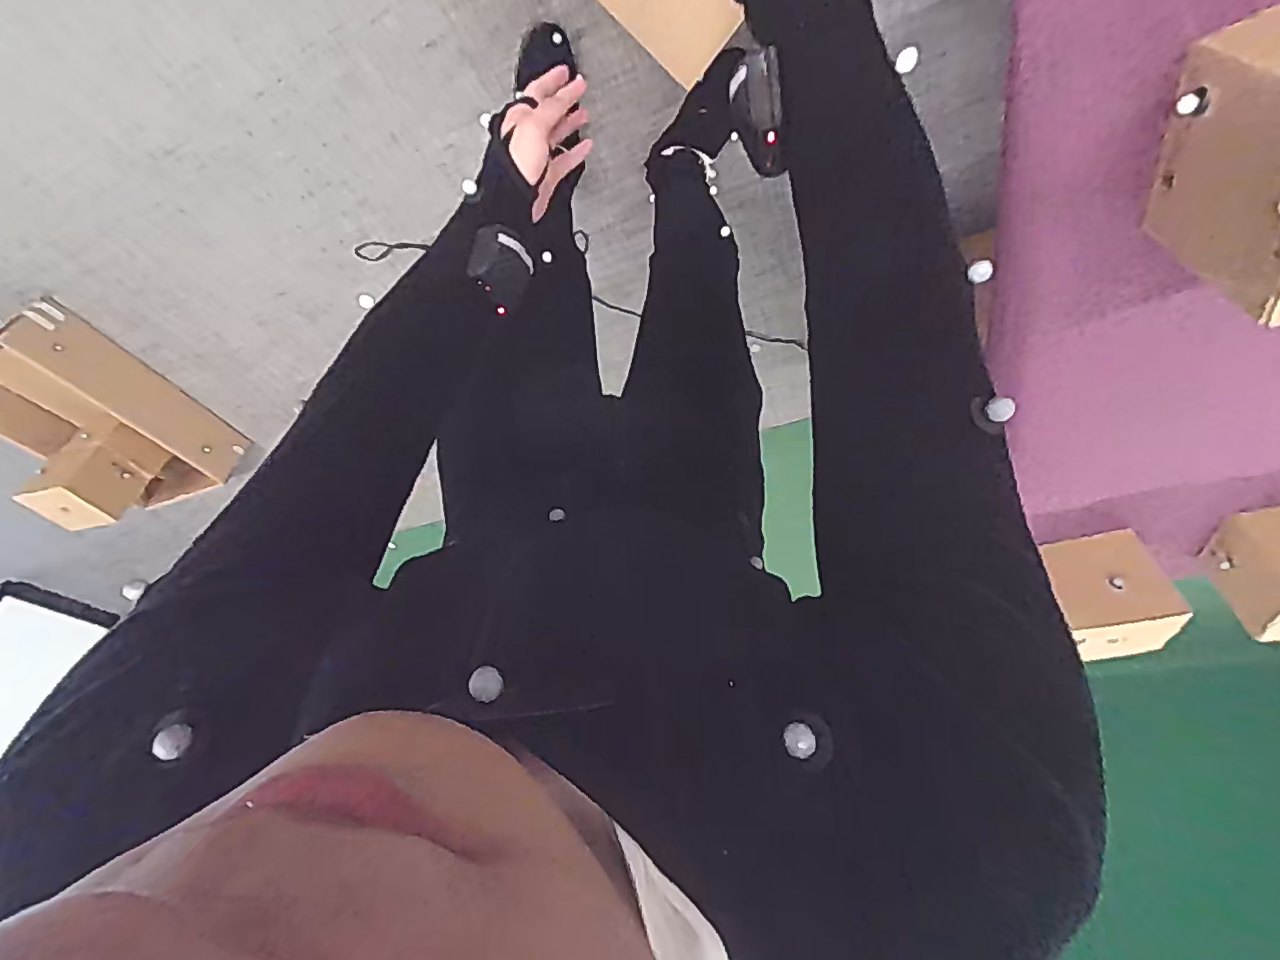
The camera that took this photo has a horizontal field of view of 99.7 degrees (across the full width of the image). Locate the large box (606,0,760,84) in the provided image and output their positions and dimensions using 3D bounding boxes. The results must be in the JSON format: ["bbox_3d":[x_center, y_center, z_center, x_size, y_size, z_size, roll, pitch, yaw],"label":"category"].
[{"bbox_3d":[0.019,-0.853,0.712,0.408,0.320,0.320,26,135,-30],"label":"large box"}]

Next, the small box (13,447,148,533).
[{"bbox_3d":[-1.592,0.028,1.552,0.179,0.176,0.168,-10,138,10],"label":"small box"}]

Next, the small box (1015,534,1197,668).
[{"bbox_3d":[0.830,0.219,0.987,0.179,0.176,0.168,-16,137,15],"label":"small box"}]

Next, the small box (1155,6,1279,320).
[{"bbox_3d":[0.545,-0.258,0.399,0.179,0.176,0.168,-18,138,18],"label":"small box"}]

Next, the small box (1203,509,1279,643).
[{"bbox_3d":[1.127,0.152,0.906,0.179,0.176,0.168,-13,137,17],"label":"small box"}]

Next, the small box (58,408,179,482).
[{"bbox_3d":[-1.586,-0.094,1.660,0.179,0.176,0.168,-12,136,13],"label":"small box"}]
